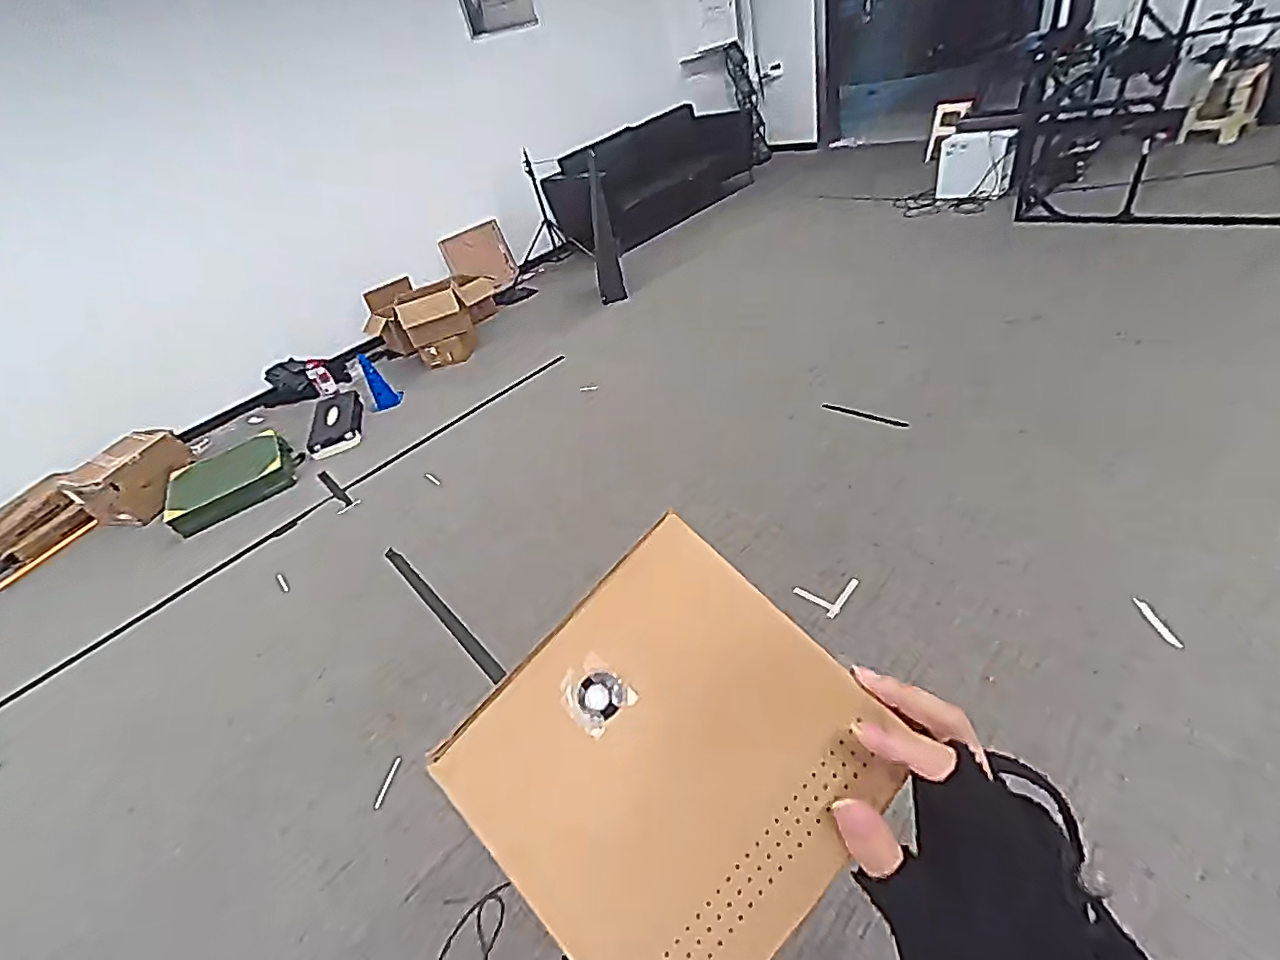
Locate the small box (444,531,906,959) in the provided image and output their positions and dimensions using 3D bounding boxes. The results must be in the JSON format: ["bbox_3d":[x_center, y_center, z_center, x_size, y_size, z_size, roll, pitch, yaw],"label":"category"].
[{"bbox_3d":[0.024,0.165,0.339,0.176,0.168,0.179,42,81,17],"label":"small box"}]
